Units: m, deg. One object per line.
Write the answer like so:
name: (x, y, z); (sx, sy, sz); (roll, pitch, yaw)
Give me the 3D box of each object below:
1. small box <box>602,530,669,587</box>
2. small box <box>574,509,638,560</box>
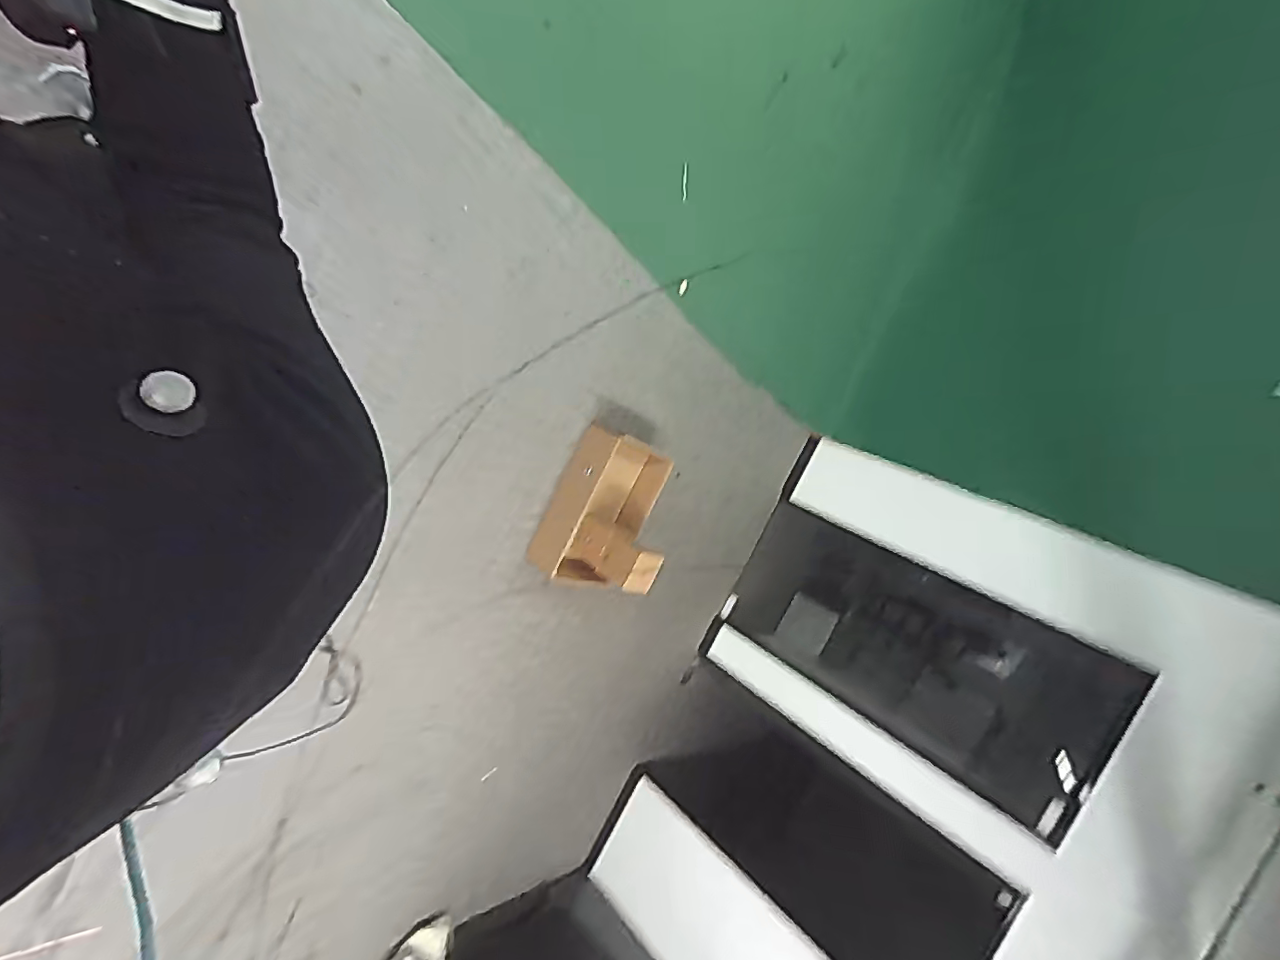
small box: (-0.022, 0.314, 2.174); (0.179, 0.176, 0.168); (21, 95, -54)
small box: (-0.147, 0.231, 2.279); (0.179, 0.176, 0.168); (14, 100, -54)
